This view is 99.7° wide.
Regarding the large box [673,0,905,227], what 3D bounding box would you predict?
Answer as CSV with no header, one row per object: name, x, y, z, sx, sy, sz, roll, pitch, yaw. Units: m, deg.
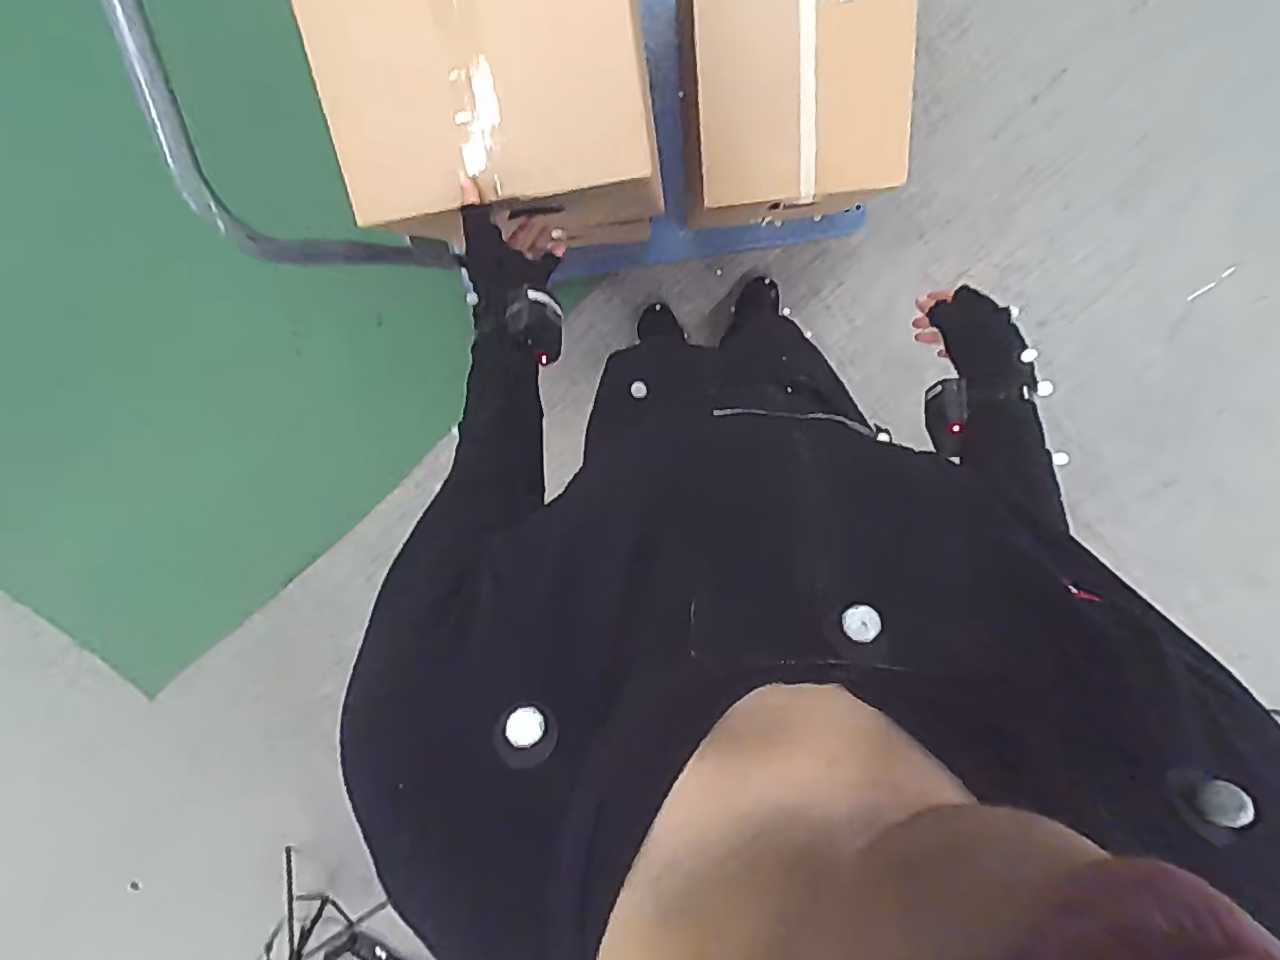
large box,0.226,-0.678,0.912,0.320,0.320,0.408,-5,109,3
